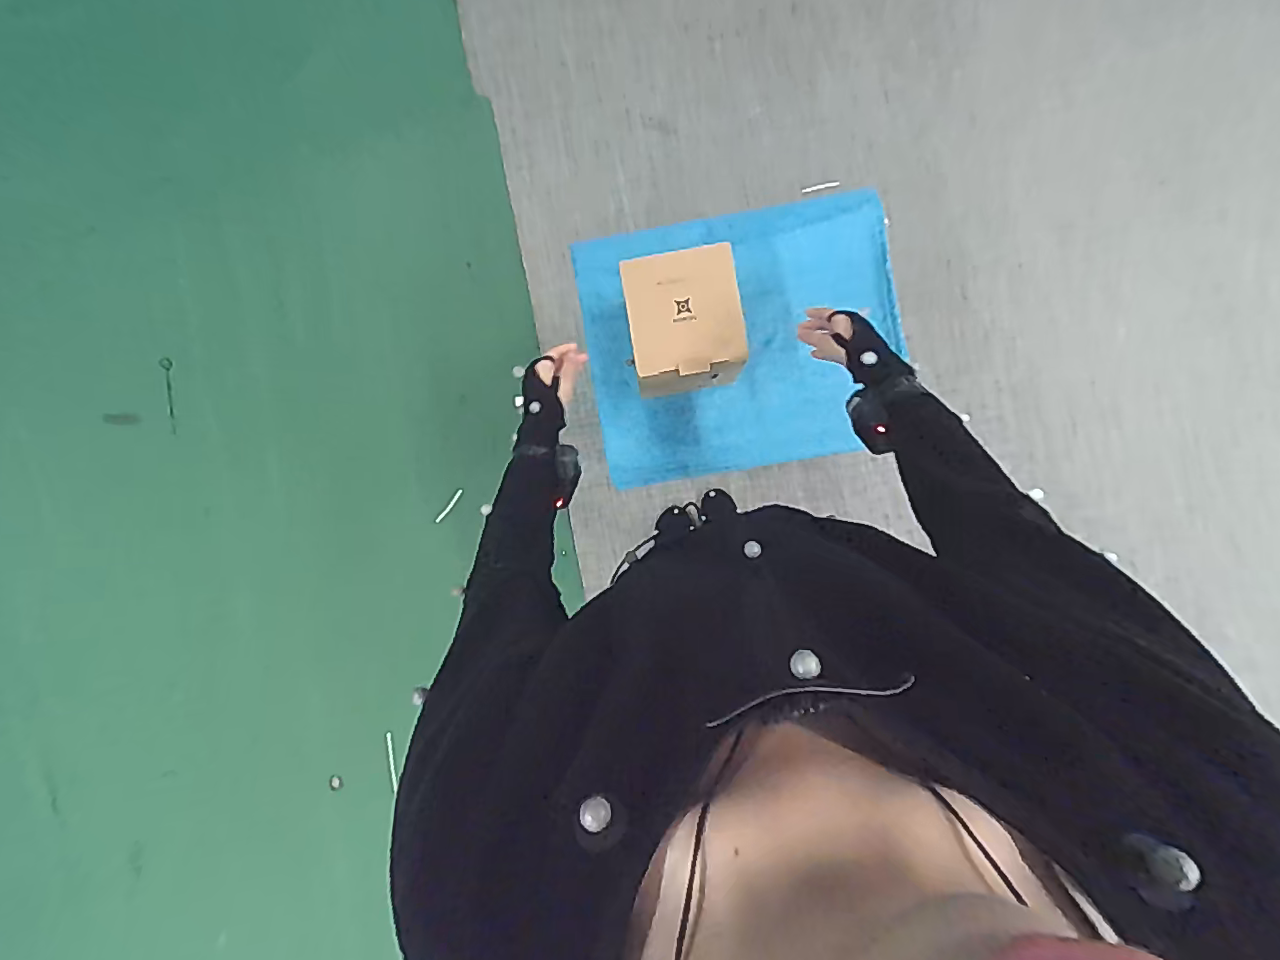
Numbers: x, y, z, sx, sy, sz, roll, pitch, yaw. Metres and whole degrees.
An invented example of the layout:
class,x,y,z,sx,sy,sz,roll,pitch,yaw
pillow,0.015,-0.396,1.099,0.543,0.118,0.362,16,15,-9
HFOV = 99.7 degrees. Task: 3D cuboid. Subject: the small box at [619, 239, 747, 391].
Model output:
class,x,y,z,sx,sy,sz,roll,pitch,yaw
small box,0.064,-0.243,0.845,0.168,0.176,0.179,-8,87,1
